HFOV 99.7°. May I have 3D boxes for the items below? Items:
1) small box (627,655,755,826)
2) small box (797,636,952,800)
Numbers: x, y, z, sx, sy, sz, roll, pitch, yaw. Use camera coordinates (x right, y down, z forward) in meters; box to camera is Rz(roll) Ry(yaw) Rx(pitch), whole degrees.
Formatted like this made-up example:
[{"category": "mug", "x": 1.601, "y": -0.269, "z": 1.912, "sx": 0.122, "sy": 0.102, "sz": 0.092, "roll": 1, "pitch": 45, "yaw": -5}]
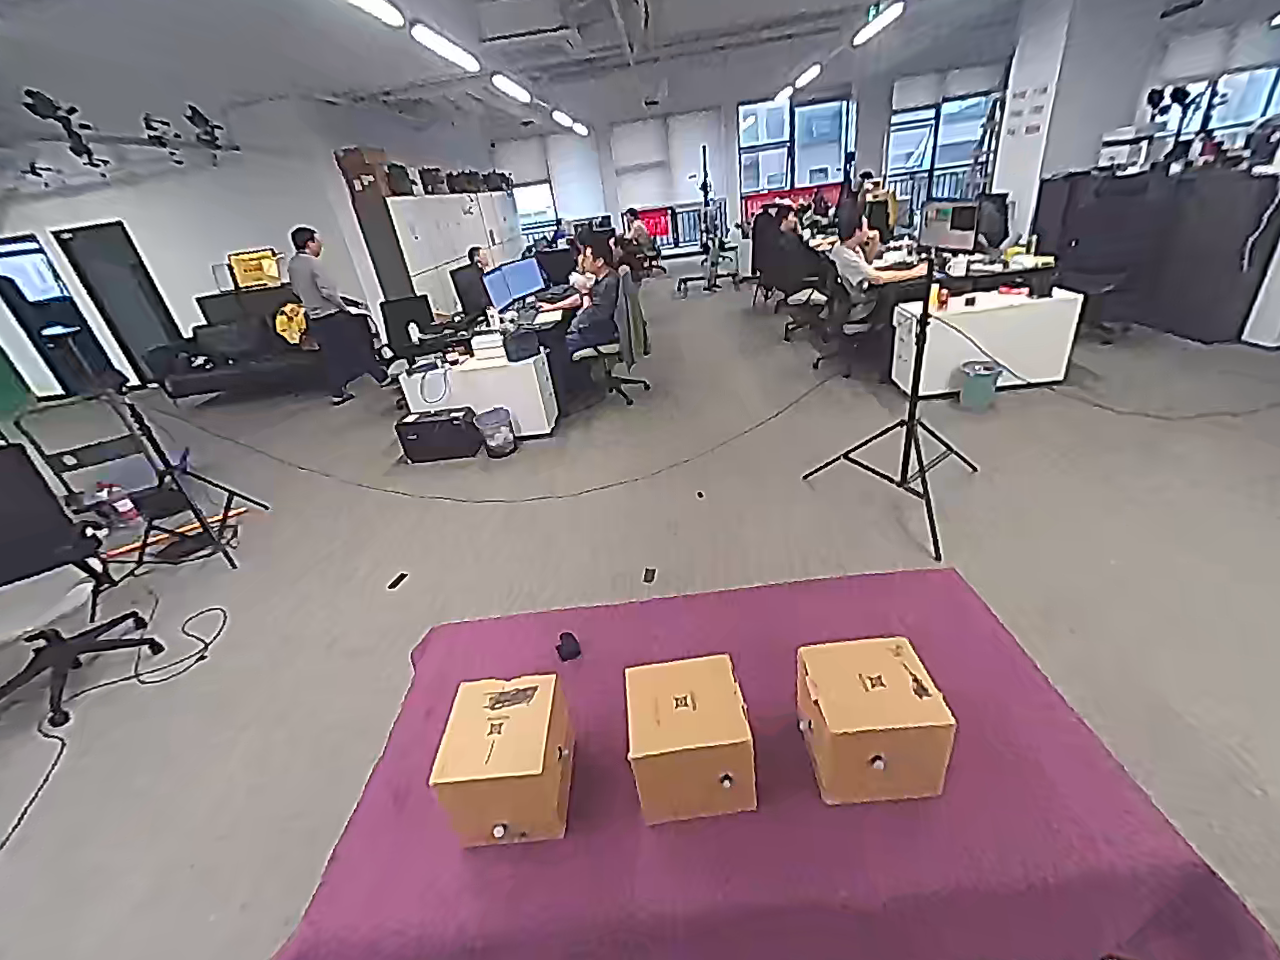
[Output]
[{"category": "small box", "x": 0.080, "y": 0.412, "z": 0.861, "sx": 0.179, "sy": 0.176, "sz": 0.168, "roll": -10, "pitch": 26, "yaw": 0}, {"category": "small box", "x": 0.356, "y": 0.374, "z": 0.849, "sx": 0.179, "sy": 0.176, "sz": 0.168, "roll": -8, "pitch": 28, "yaw": 4}]
